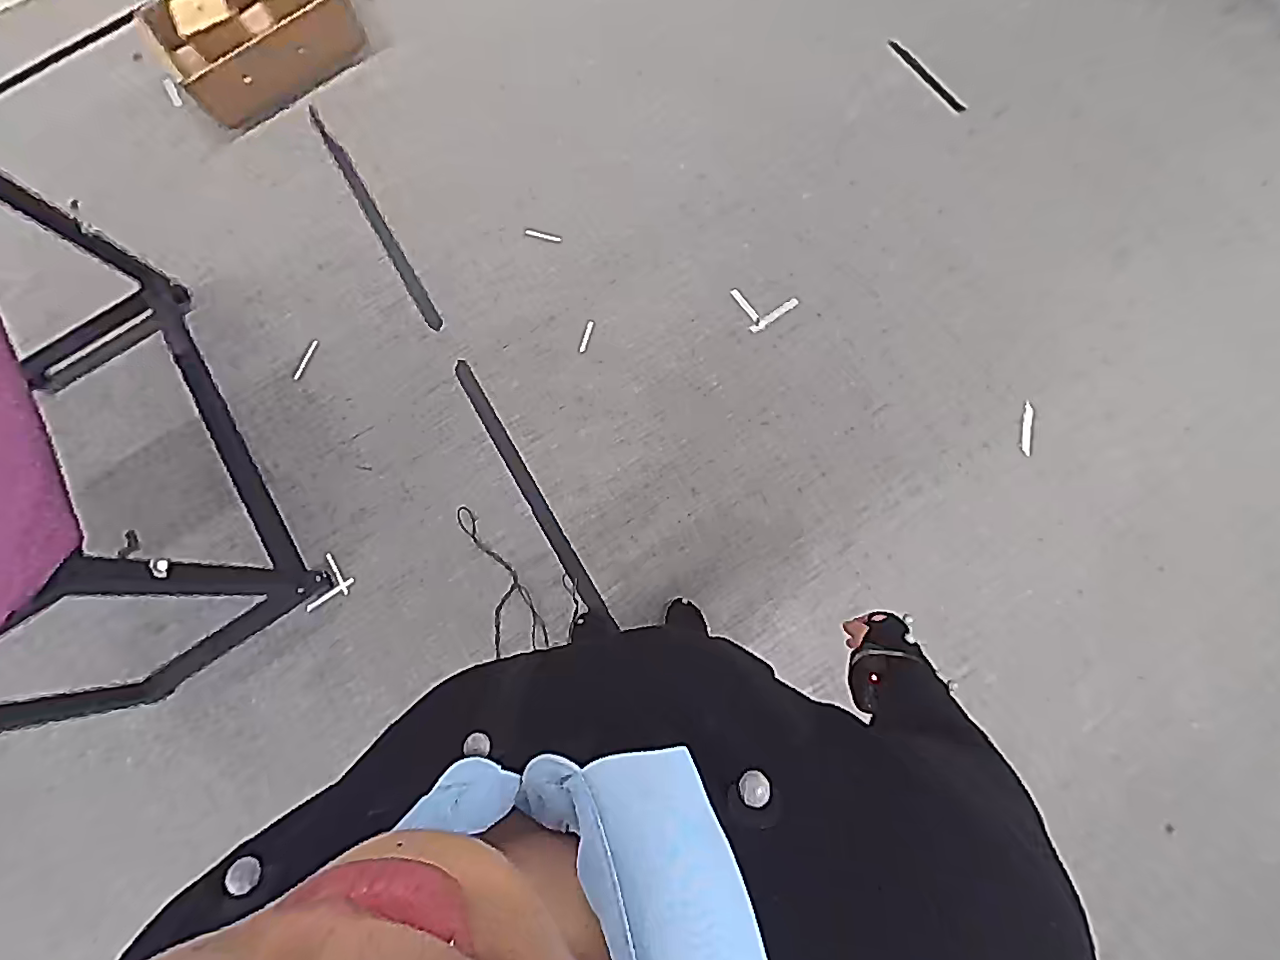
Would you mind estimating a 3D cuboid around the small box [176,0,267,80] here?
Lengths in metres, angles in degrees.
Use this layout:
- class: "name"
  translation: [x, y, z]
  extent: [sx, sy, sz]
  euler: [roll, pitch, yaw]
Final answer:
- class: "small box"
  translation: [-1.443, -1.546, 1.872]
  extent: [0.168, 0.176, 0.179]
  euler: [-26, 77, -4]
